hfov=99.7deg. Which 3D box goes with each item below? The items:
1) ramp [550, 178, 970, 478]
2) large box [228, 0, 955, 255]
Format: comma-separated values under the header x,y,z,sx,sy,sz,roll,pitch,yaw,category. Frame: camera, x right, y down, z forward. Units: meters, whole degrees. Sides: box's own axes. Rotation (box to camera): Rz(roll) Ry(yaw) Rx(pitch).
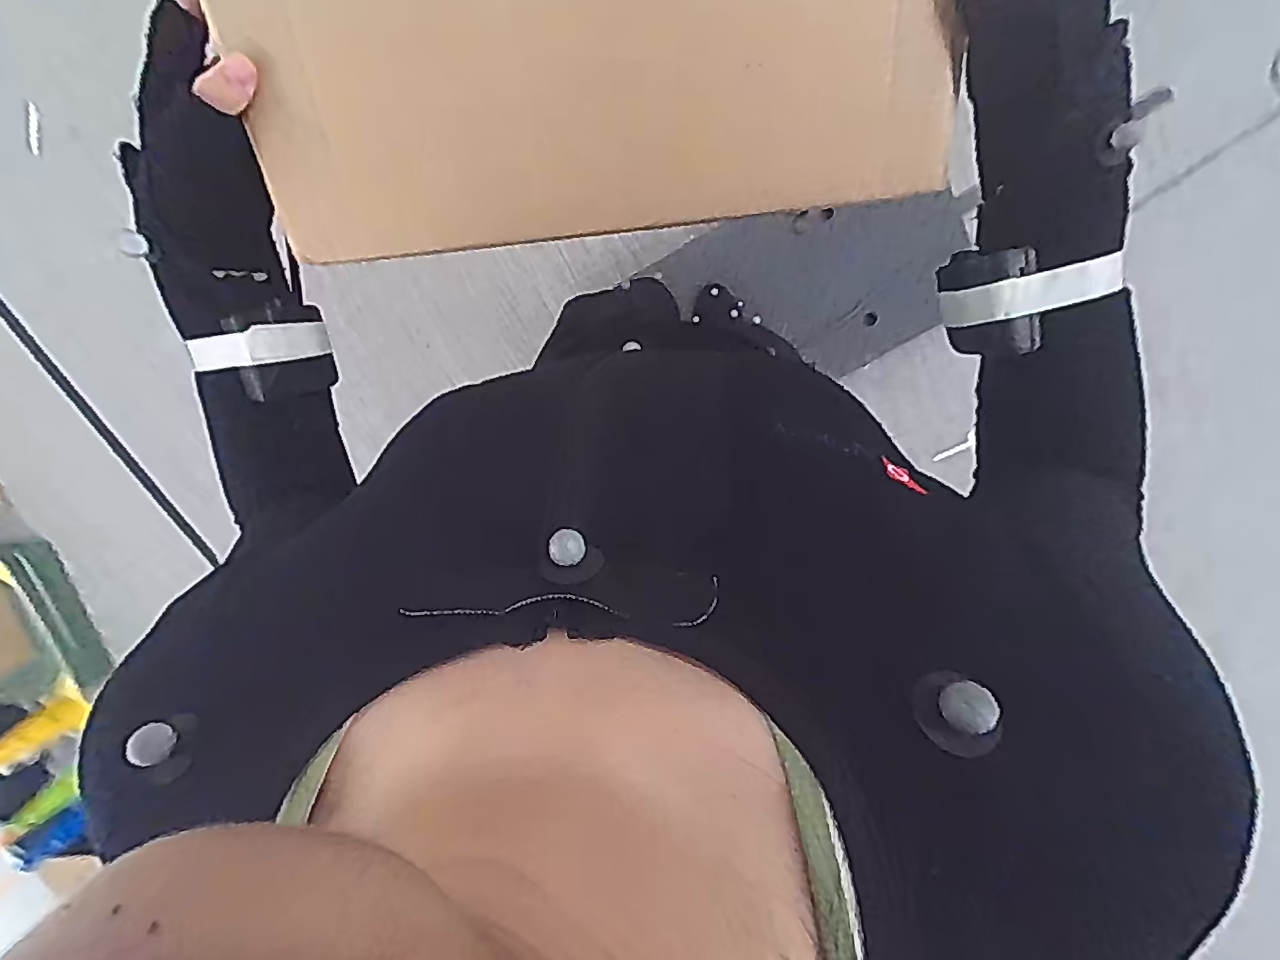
x,y,z,sx,sy,sz,roll,pitch,yaw,category
0.316,-0.445,1.394,0.991,0.206,0.509,-28,104,14,ramp
-0.026,-0.367,0.409,0.408,0.320,0.320,-3,116,4,large box
